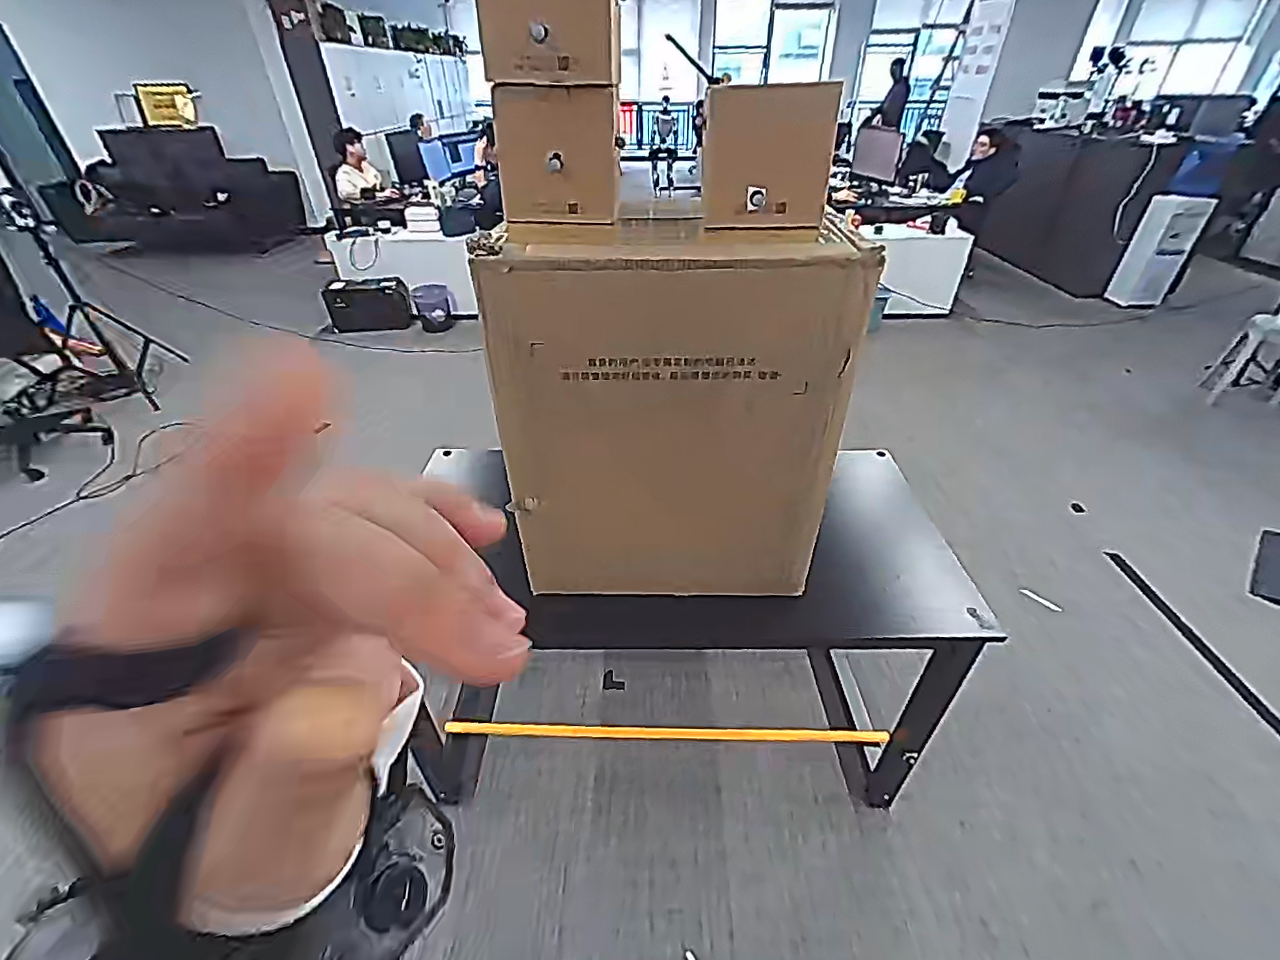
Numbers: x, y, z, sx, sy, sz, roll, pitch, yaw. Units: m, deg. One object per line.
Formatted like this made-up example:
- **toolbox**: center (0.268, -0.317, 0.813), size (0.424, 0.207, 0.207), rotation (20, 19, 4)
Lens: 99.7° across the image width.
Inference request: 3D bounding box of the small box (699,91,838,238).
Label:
- **small box**: center (0.174, -0.464, 0.794), size (0.168, 0.176, 0.179), rotation (-1, 36, 3)

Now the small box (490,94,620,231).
- **small box**: center (-0.118, -0.490, 0.830), size (0.168, 0.176, 0.179), rotation (1, 36, 0)

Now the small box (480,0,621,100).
- **small box**: center (-0.113, -0.614, 0.720), size (0.168, 0.176, 0.179), rotation (2, 36, 1)
